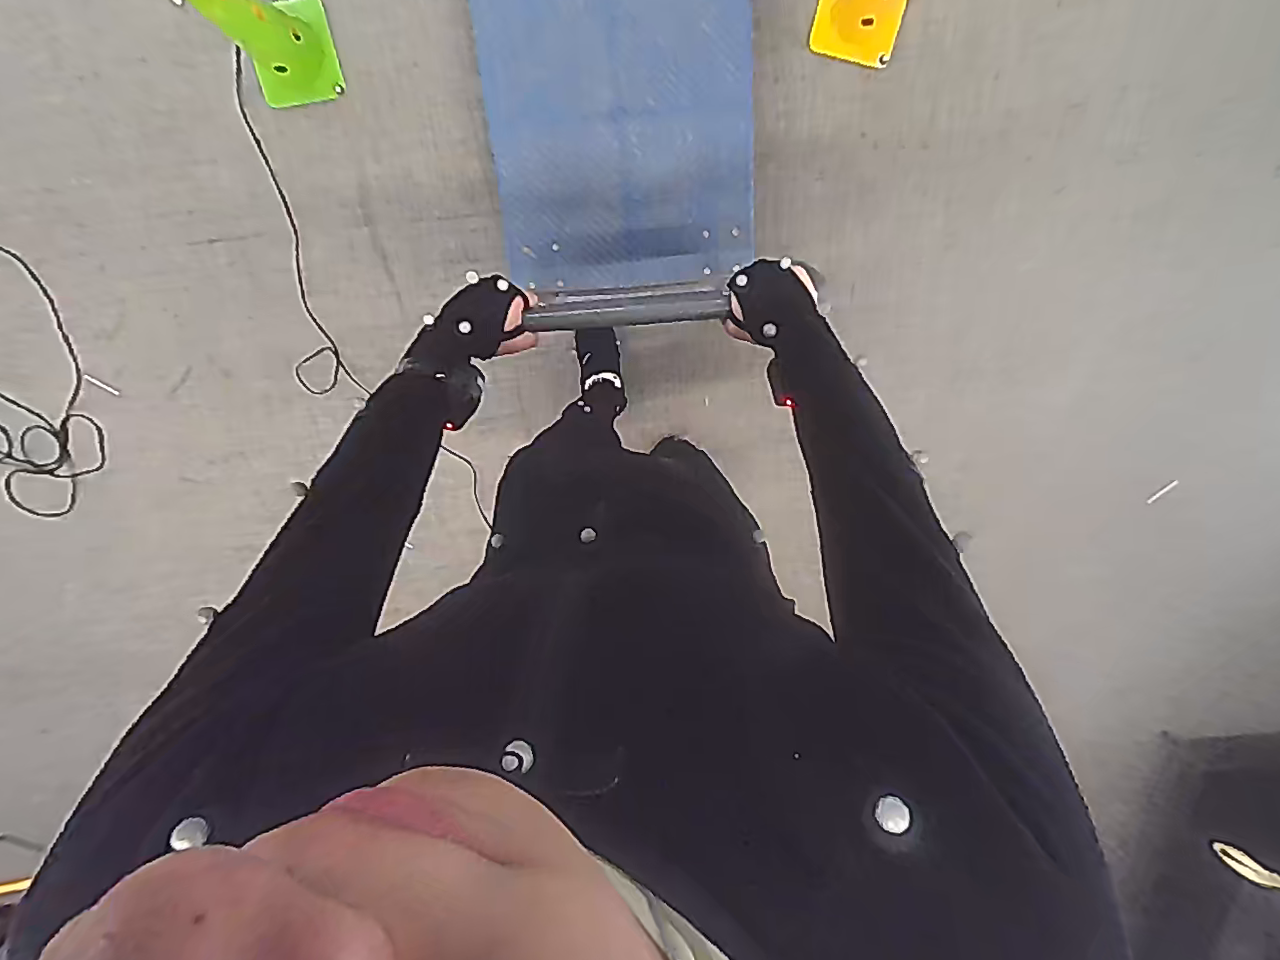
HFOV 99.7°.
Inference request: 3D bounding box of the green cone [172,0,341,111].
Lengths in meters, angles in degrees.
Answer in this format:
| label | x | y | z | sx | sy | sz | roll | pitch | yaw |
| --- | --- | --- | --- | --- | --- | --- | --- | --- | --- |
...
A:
| label | x | y | z | sx | sy | sz | roll | pitch | yaw |
| --- | --- | --- | --- | --- | --- | --- | --- | --- | --- |
| green cone | -0.823 | -0.935 | 1.102 | 0.202 | 0.368 | 0.200 | -8 | 109 | 4 |
